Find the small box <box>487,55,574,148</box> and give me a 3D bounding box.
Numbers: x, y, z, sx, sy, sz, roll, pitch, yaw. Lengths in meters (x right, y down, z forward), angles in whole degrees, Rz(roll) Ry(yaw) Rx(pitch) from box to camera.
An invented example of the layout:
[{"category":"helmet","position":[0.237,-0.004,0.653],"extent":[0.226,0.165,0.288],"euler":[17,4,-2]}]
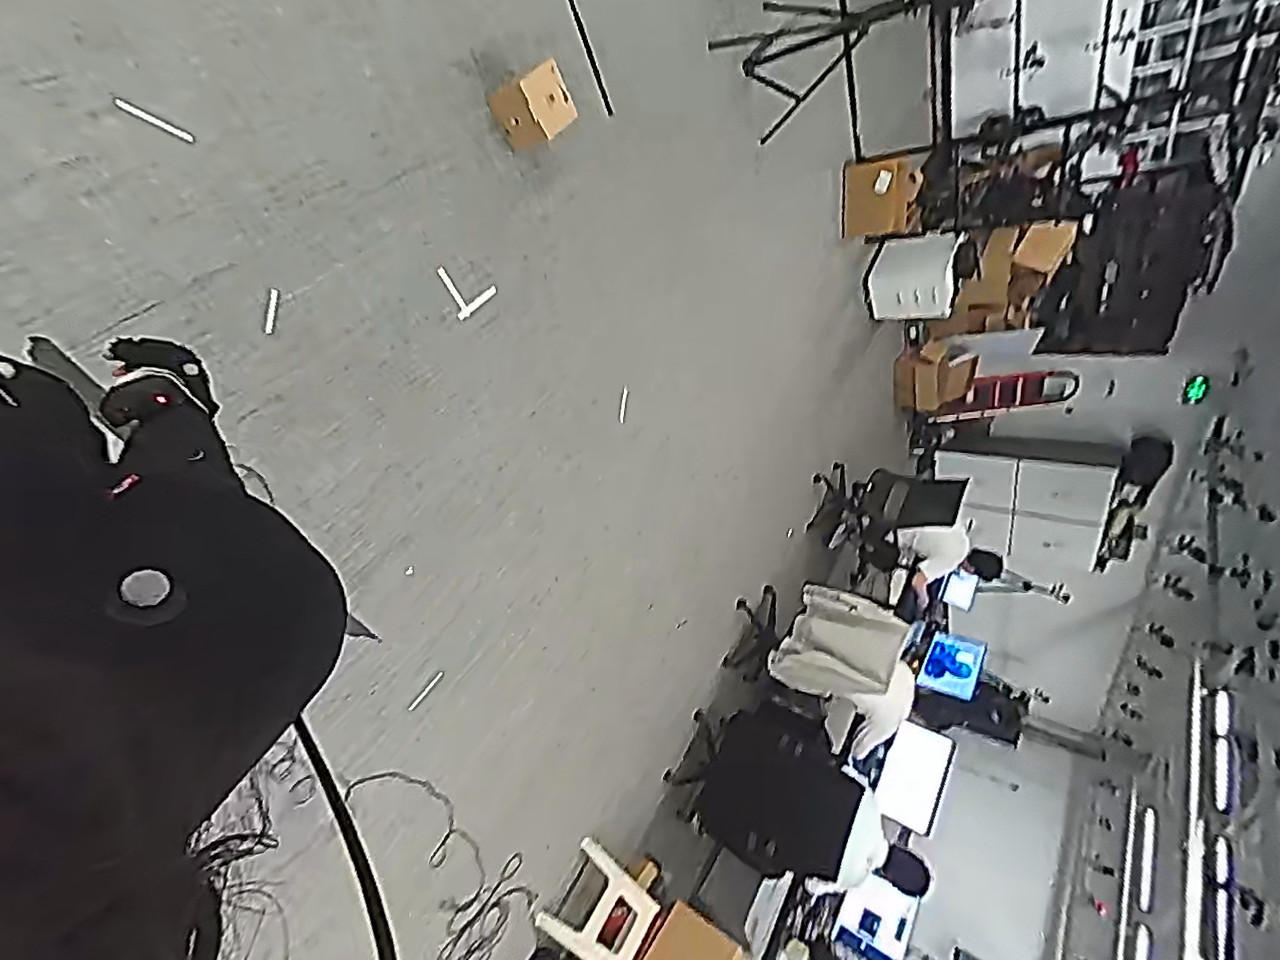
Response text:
[{"category":"small box","position":[-0.347,-1.167,1.679],"extent":[0.179,0.176,0.168],"euler":[-56,137,-25]}]
